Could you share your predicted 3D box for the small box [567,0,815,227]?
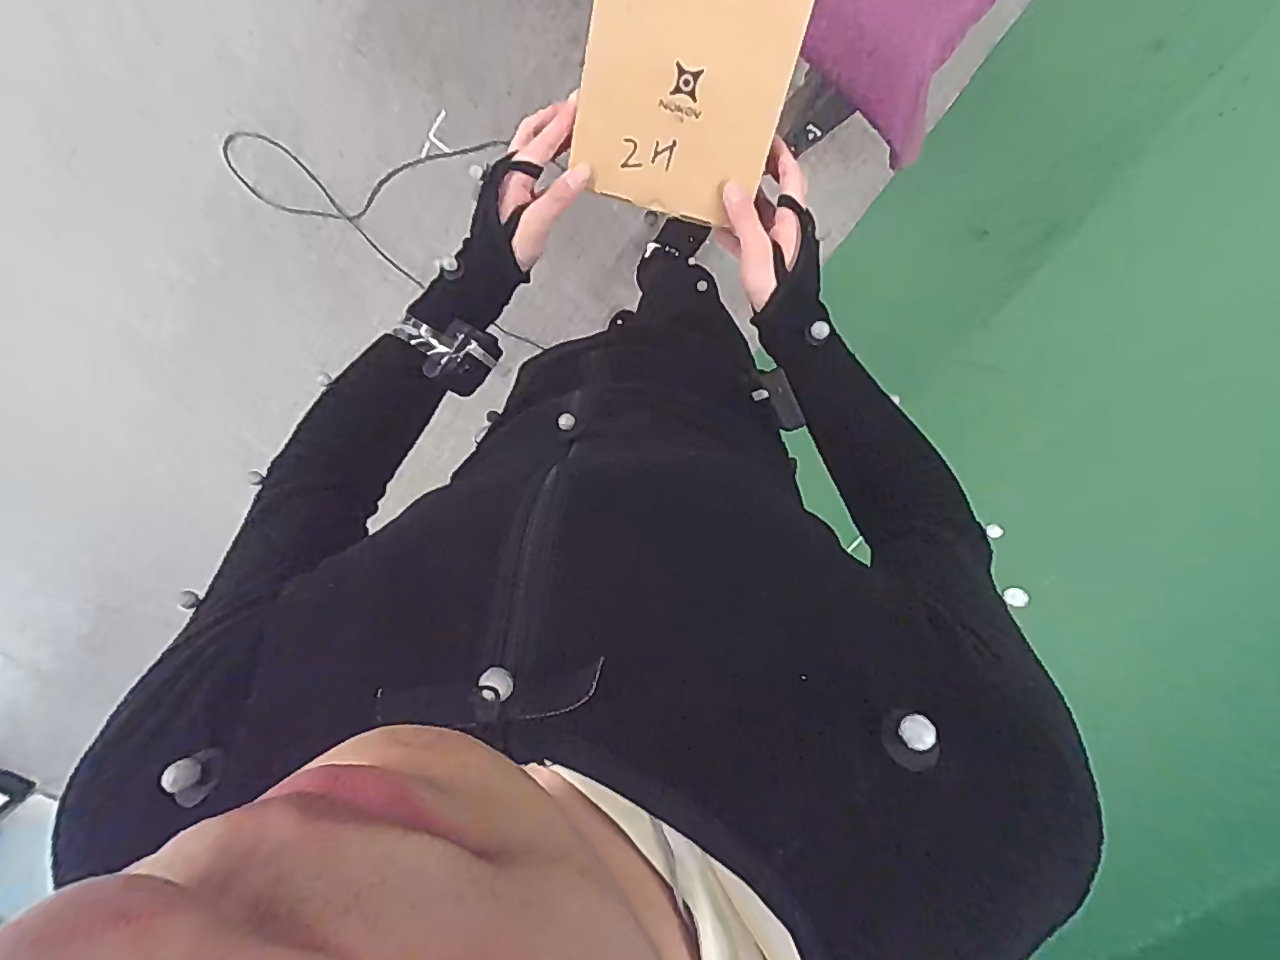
[{"bbox_3d":[0.036,-0.358,0.509,0.168,0.176,0.179,13,118,-6],"label":"small box"}]
